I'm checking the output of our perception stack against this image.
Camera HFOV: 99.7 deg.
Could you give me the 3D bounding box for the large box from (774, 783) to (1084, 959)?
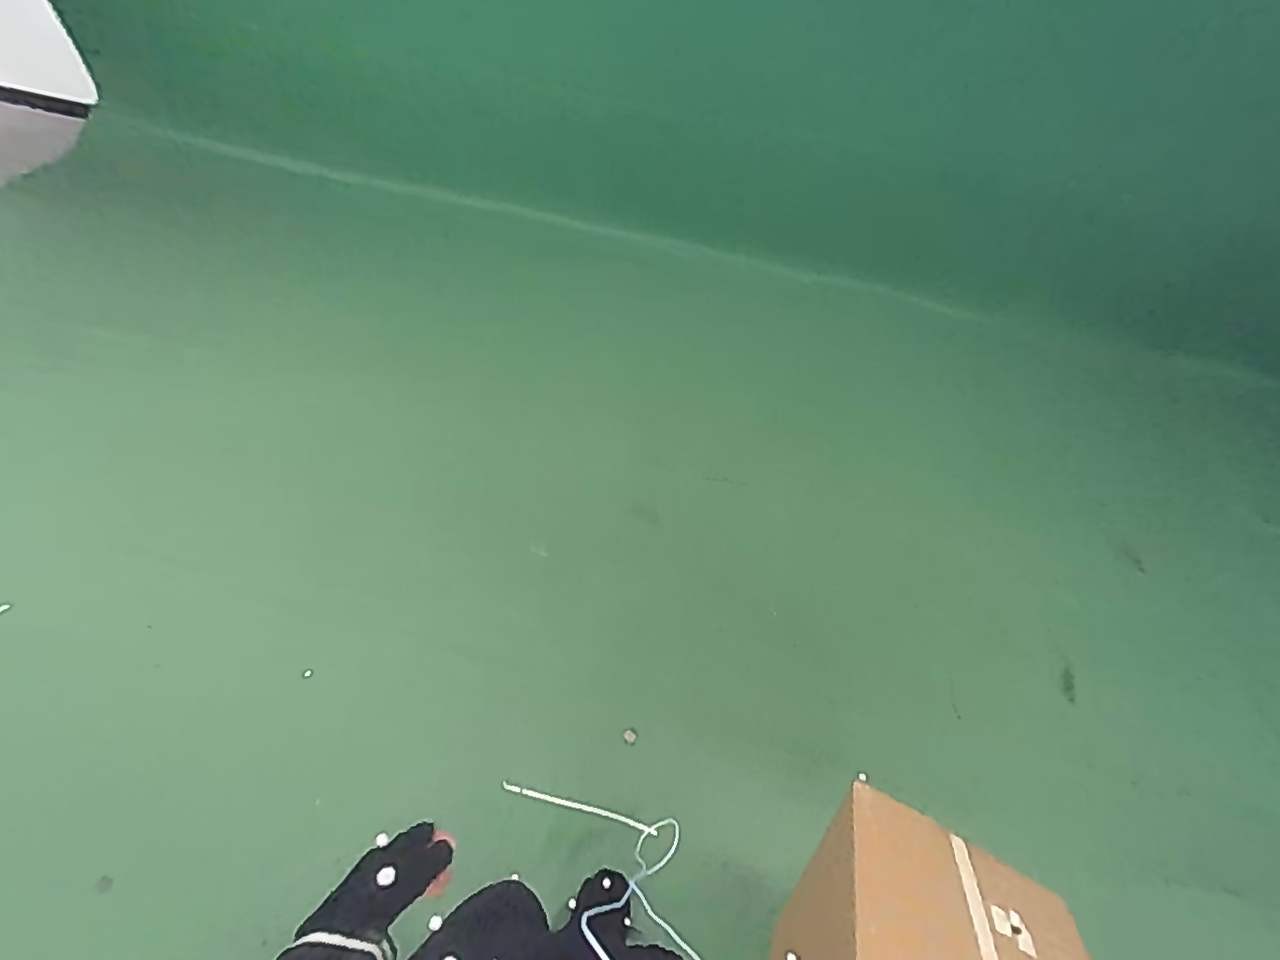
[{"bbox_3d":[0.356,0.706,0.682,0.320,0.320,0.408,26,14,17],"label":"large box"}]
